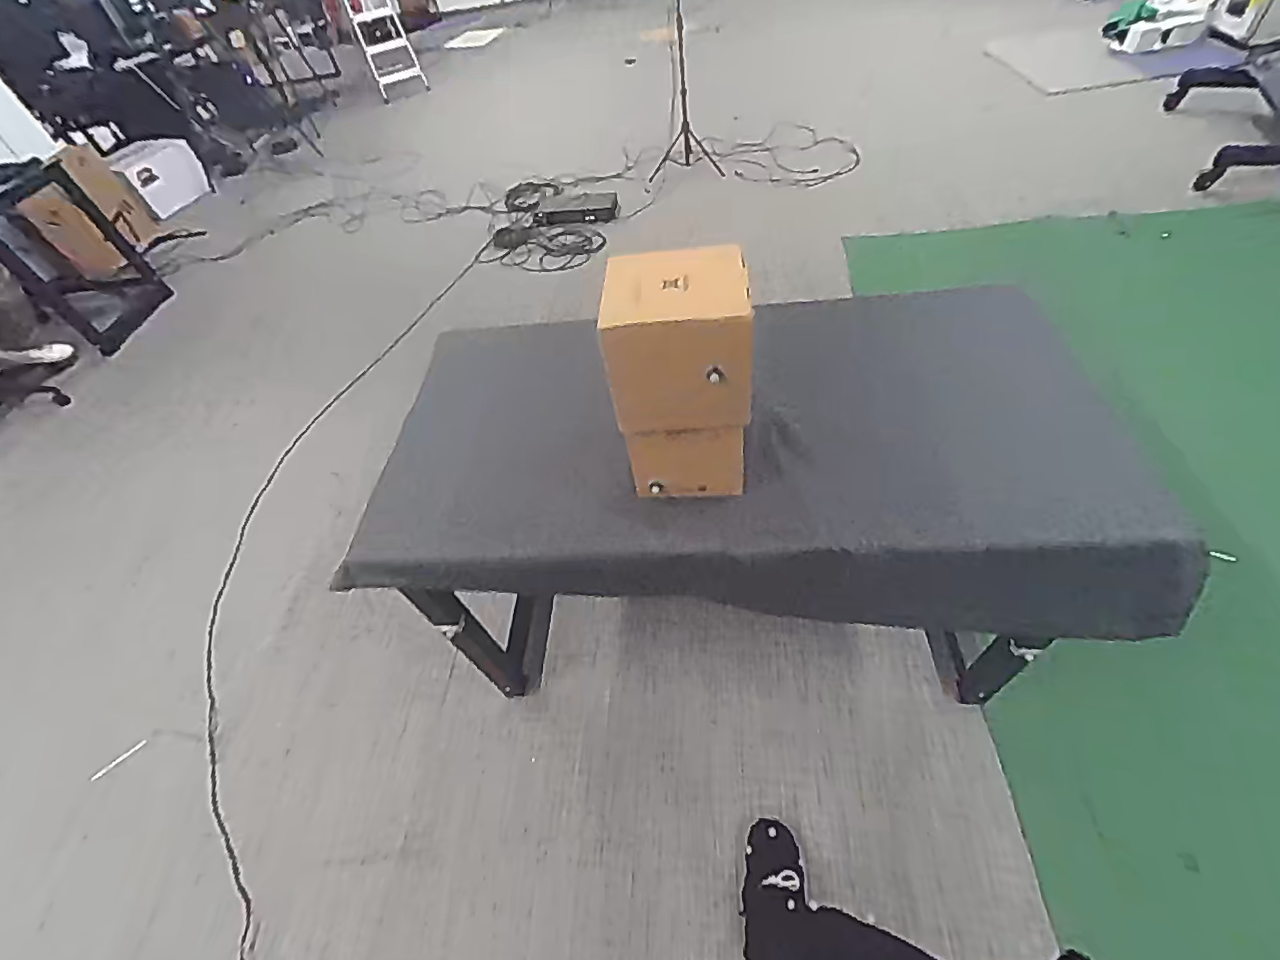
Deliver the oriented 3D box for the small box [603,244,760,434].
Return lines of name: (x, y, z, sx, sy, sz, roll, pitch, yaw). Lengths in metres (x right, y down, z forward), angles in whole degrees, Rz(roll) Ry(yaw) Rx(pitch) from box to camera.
small box: (0.051, -0.179, 0.704, 0.179, 0.176, 0.168, -6, 49, 4)

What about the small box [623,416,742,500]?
small box: (0.074, -0.081, 0.852, 0.168, 0.176, 0.179, -1, 49, 8)
